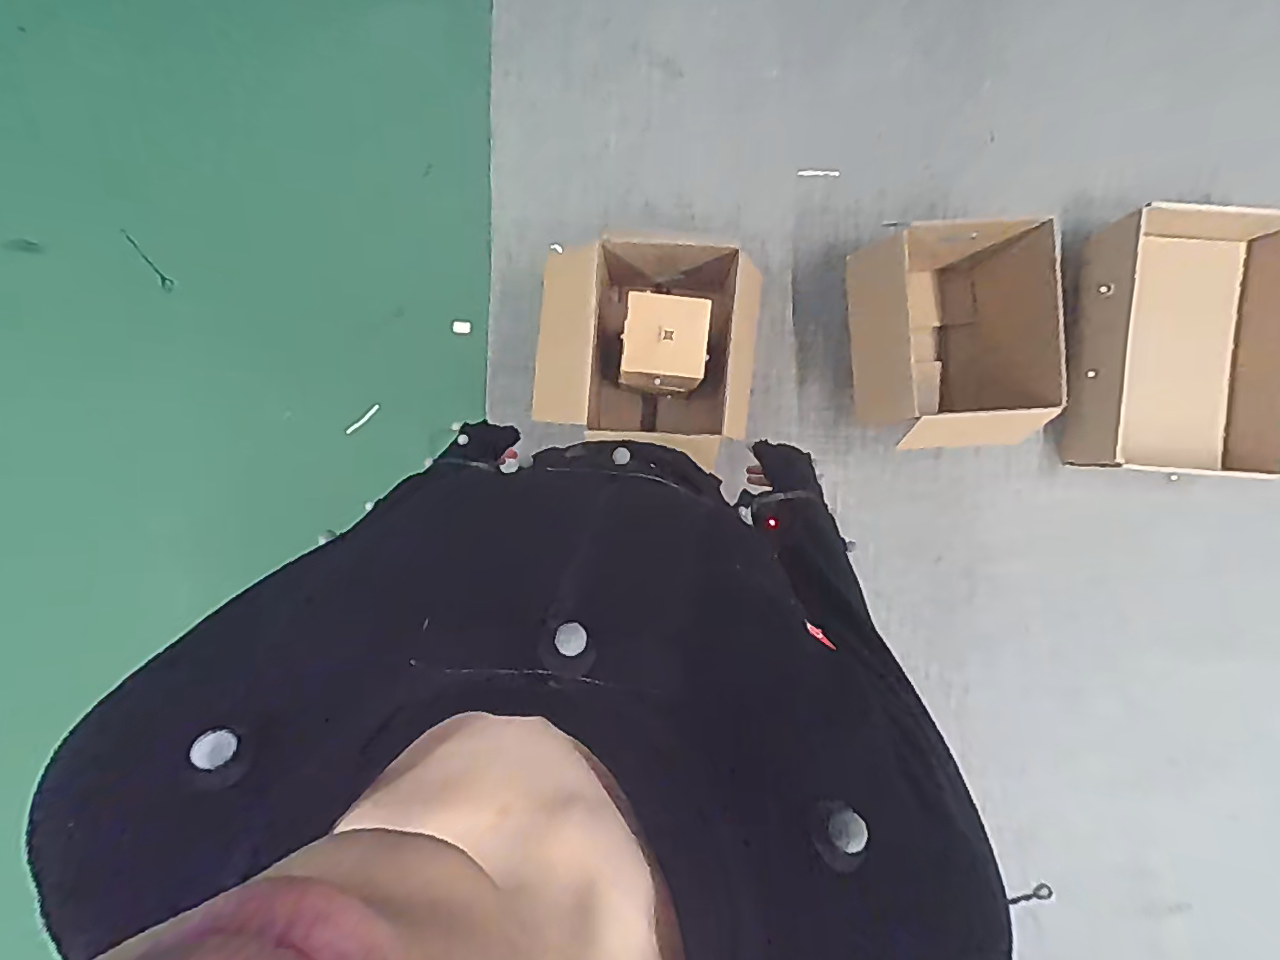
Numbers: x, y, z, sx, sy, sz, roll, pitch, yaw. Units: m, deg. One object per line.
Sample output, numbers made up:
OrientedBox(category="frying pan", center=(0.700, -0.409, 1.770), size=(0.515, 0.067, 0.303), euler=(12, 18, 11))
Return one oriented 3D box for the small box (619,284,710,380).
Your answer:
OrientedBox(category="small box", center=(0.050, -0.319, 1.200), size=(0.179, 0.176, 0.168), euler=(5, 92, 0))
